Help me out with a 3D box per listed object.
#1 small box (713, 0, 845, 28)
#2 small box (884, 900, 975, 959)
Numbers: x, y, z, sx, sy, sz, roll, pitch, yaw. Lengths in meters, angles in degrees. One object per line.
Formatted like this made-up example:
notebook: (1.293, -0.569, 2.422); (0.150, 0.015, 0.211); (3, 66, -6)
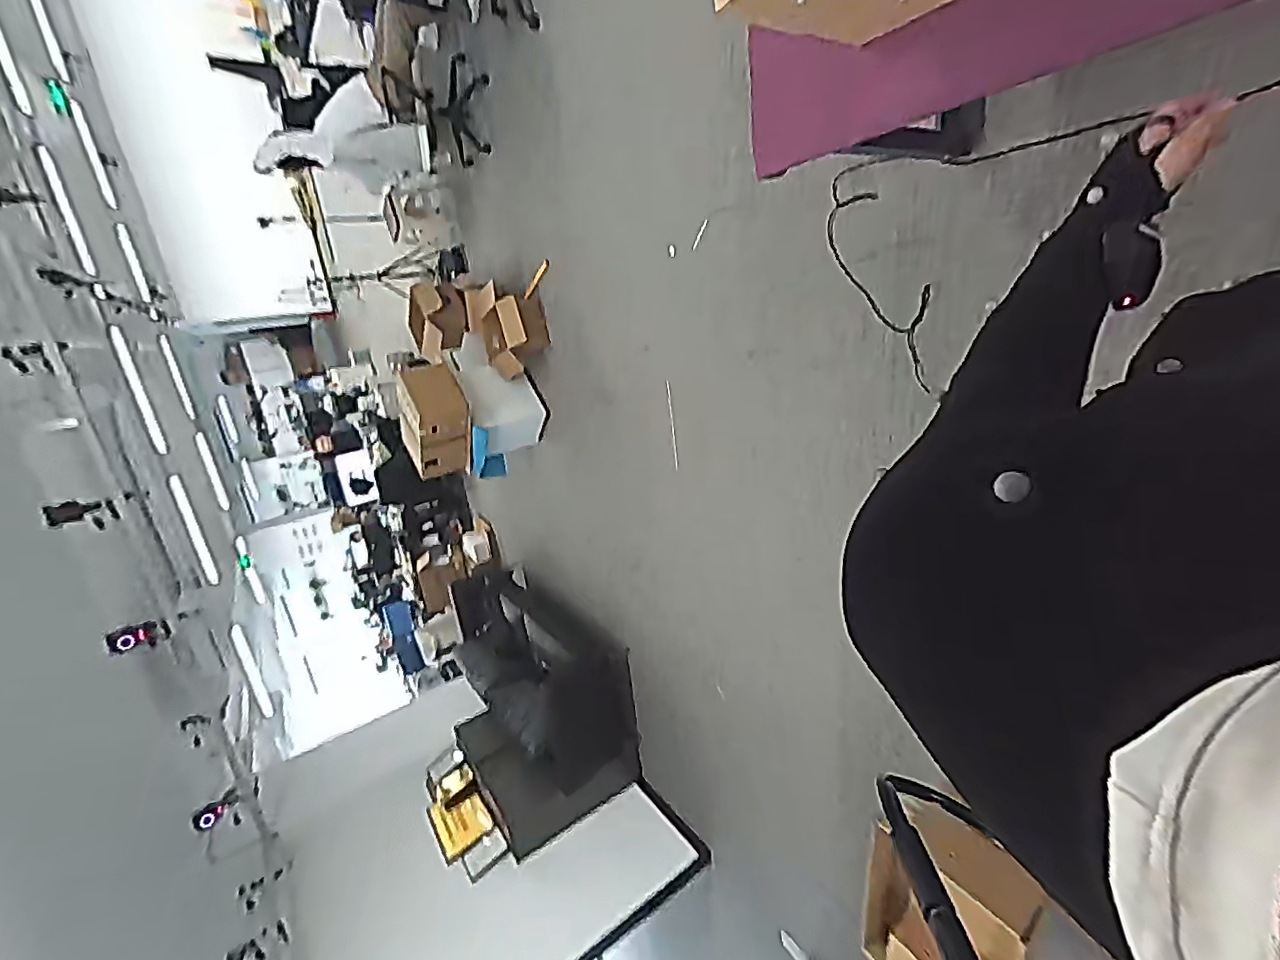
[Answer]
small box: (0.198, -0.683, 0.640); (0.179, 0.176, 0.168); (13, 117, 53)
small box: (0.861, 1.418, 1.610); (0.179, 0.176, 0.168); (26, 126, 50)
